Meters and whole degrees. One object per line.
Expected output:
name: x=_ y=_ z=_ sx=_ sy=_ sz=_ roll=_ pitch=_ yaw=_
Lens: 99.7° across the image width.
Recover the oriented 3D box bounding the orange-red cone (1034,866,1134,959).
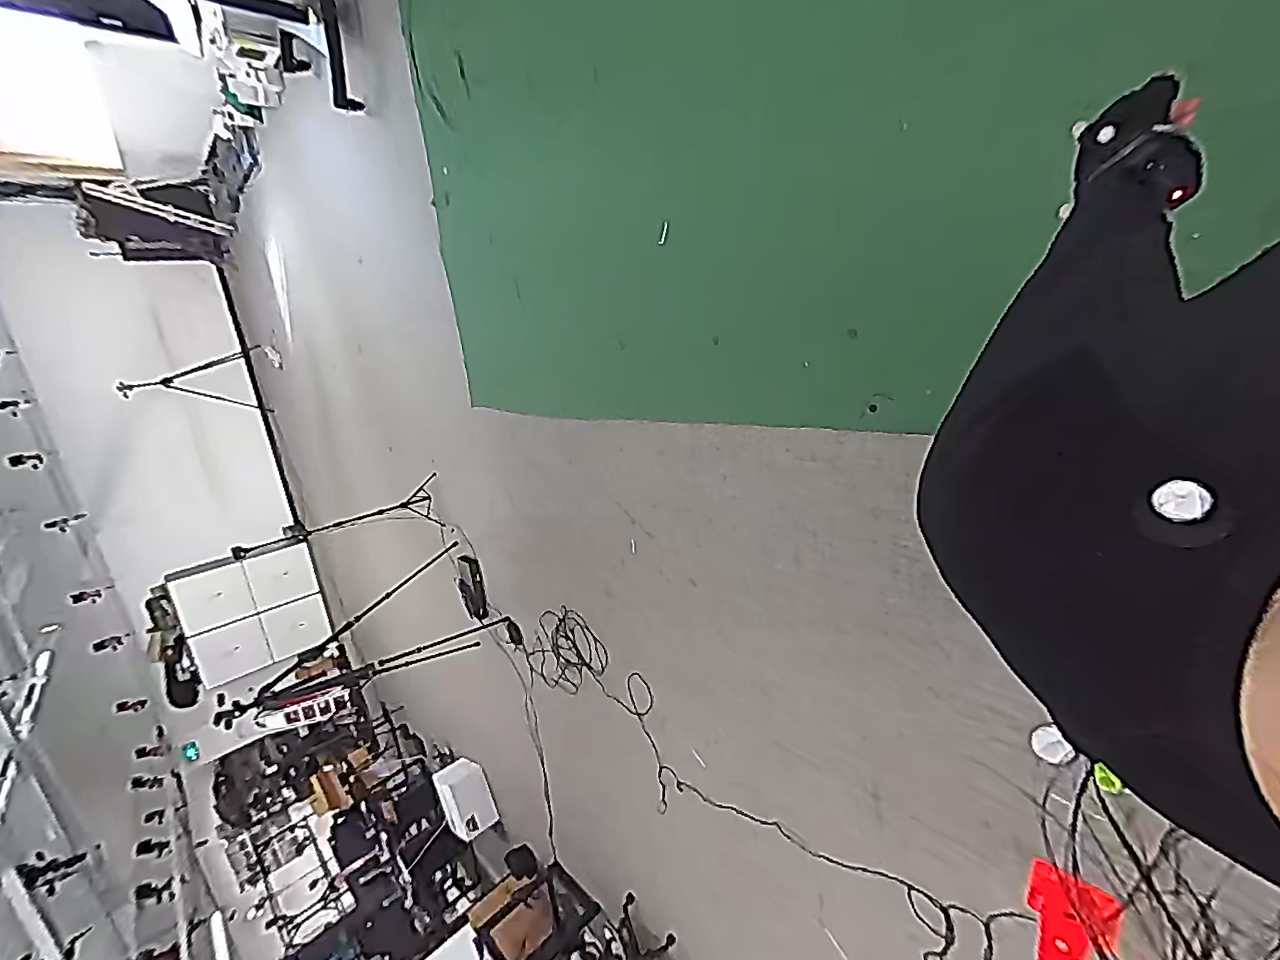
orange-red cone: x=1.106 y=1.237 z=1.388 sx=0.198 sy=0.360 sz=0.199 roll=15 pitch=115 yaw=43
